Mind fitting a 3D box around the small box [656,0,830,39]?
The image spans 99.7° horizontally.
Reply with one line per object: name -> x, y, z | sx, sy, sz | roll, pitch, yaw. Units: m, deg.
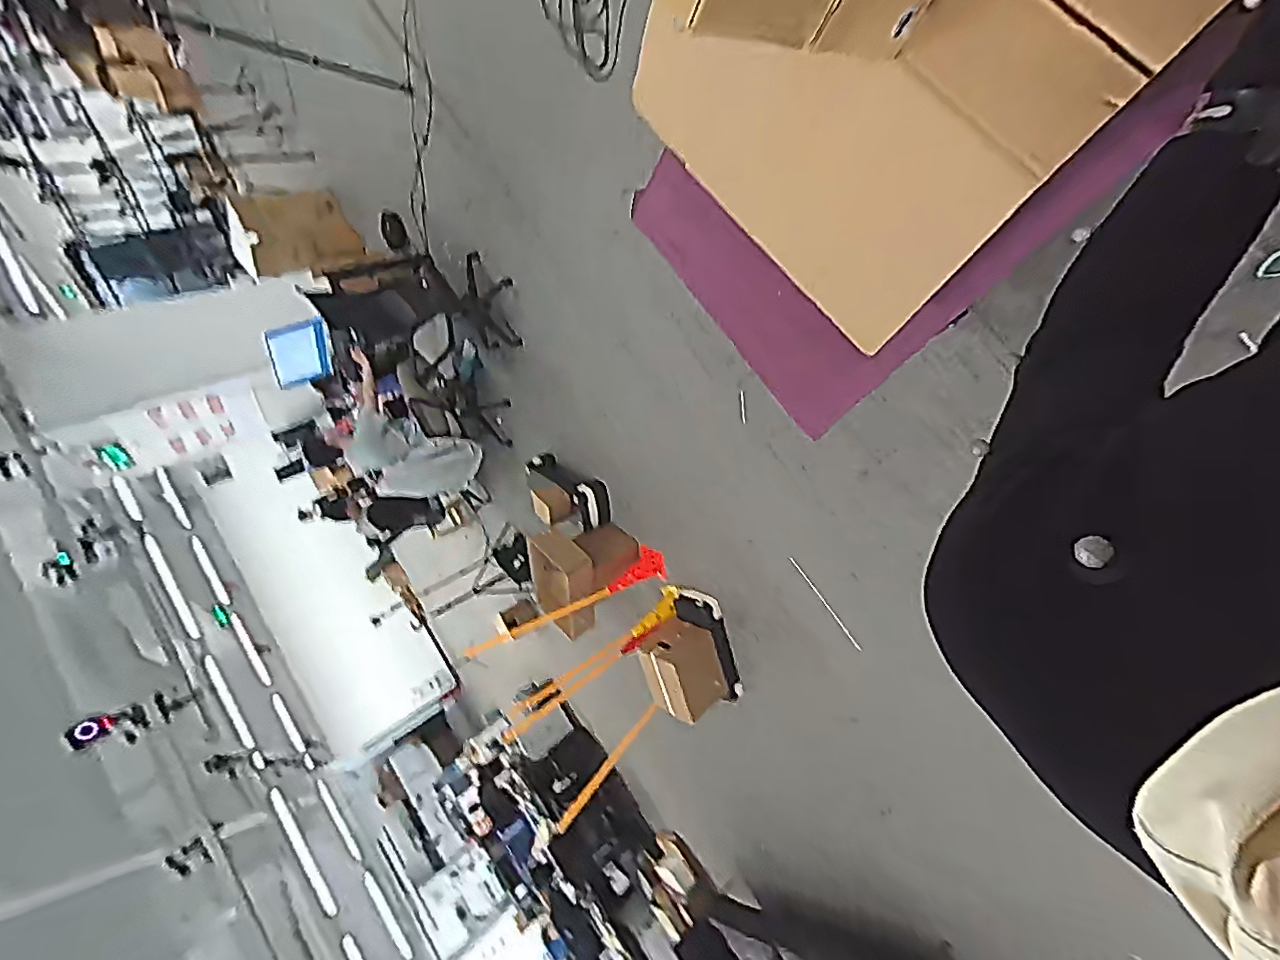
small box -> 0.075, -0.482, 0.420 | 0.179, 0.176, 0.168 | 51, 143, 13

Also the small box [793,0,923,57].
small box -> 0.198, -0.538, 0.510 | 0.179, 0.176, 0.168 | 53, 144, 13
